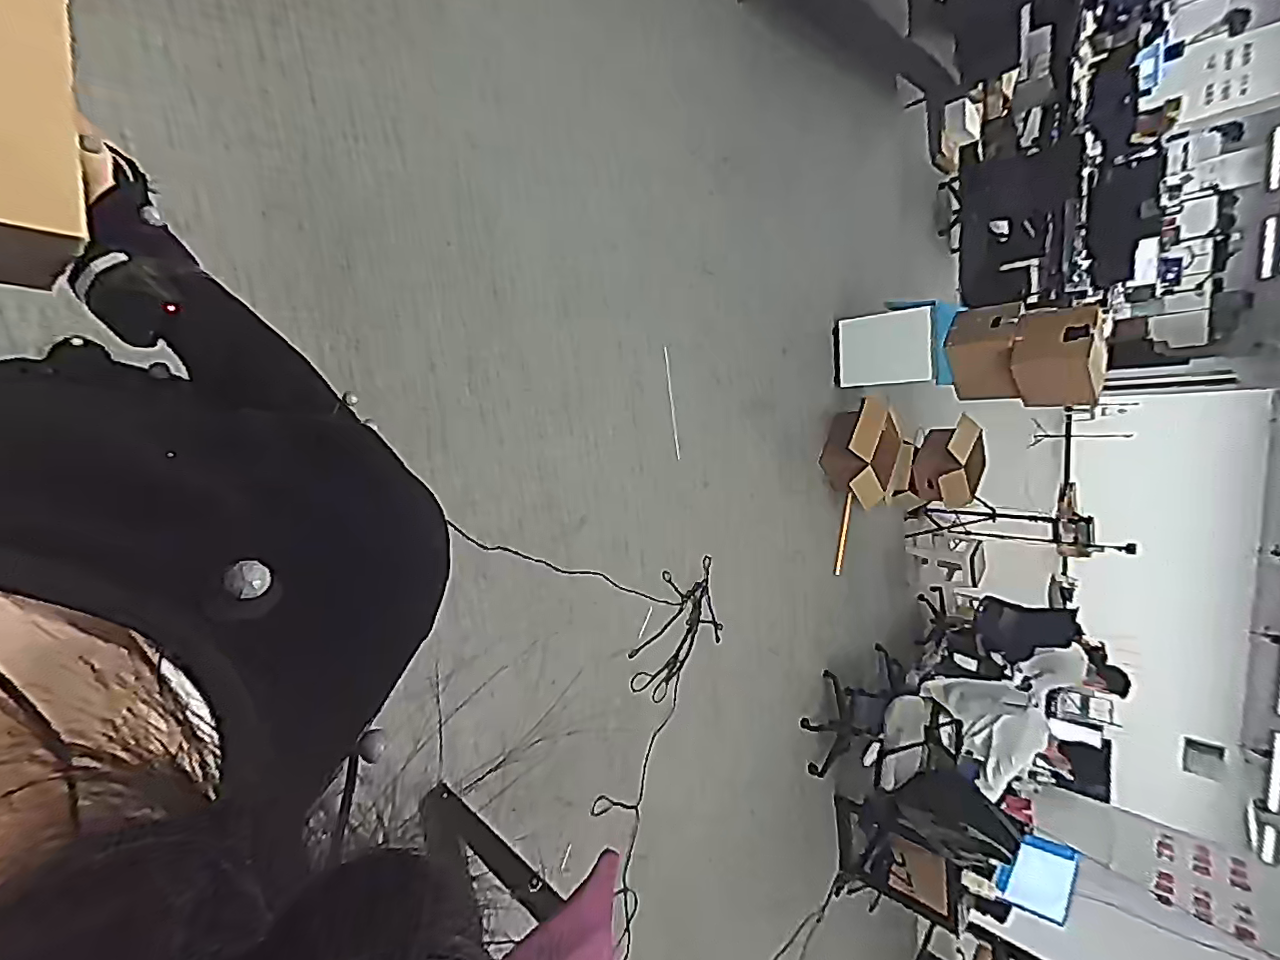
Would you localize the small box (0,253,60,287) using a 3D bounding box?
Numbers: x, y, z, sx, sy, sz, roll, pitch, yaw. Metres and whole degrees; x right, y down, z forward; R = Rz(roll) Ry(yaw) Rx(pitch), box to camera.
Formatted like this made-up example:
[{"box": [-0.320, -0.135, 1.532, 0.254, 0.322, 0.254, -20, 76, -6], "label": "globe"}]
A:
[{"box": [-0.606, -0.266, 0.438, 0.179, 0.176, 0.168, -5, 98, -50], "label": "small box"}]

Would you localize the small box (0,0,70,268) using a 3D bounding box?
[{"box": [-0.480, -0.247, 0.334, 0.168, 0.176, 0.179, -5, 98, -50], "label": "small box"}]
